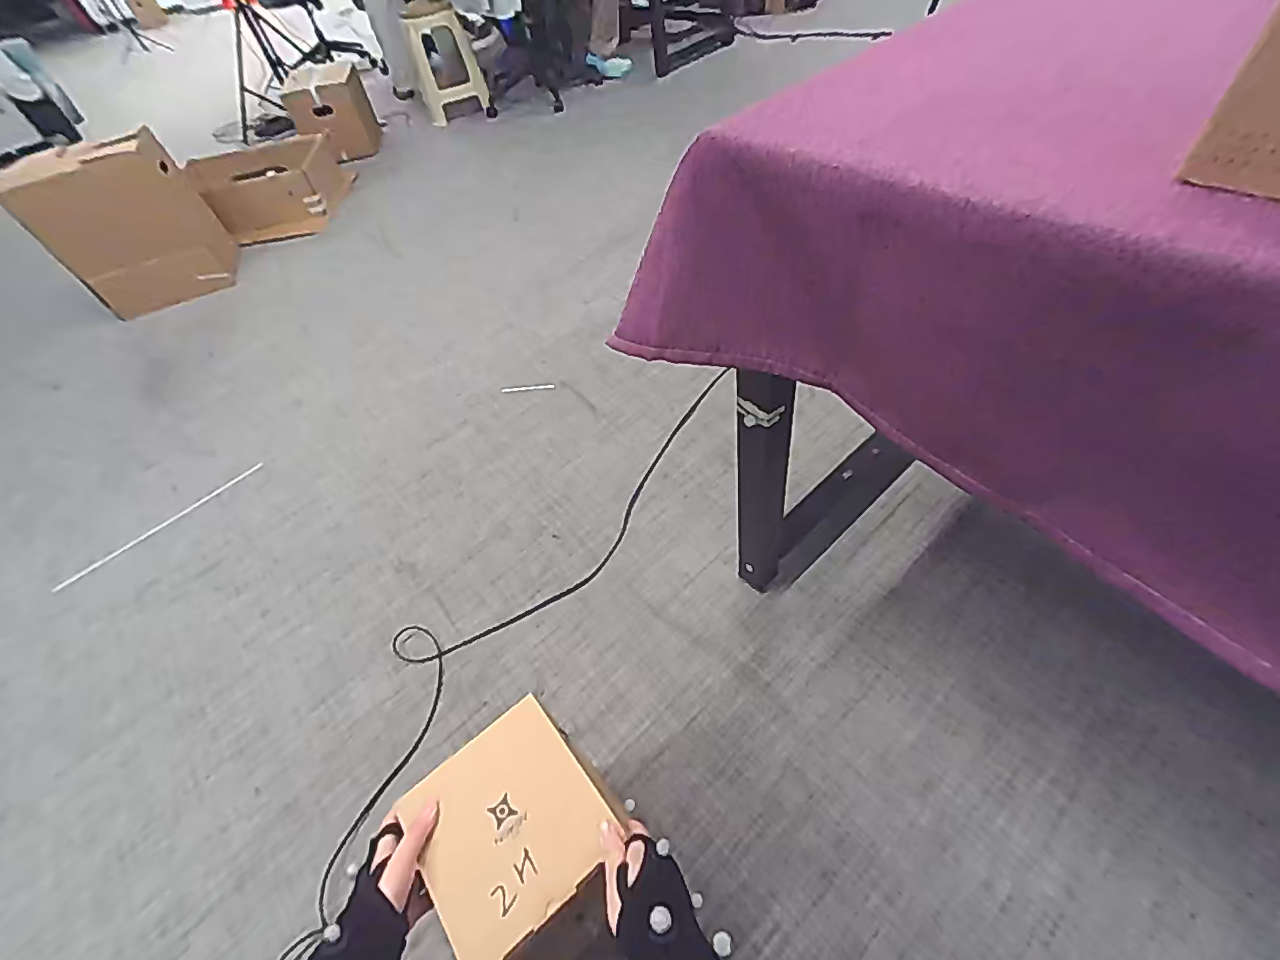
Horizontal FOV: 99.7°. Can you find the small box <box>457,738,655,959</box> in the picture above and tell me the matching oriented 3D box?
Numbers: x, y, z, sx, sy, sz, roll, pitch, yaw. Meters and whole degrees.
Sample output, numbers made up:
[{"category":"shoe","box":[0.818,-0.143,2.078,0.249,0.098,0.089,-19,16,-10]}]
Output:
[{"category":"small box","box":[-0.097,0.480,0.697,0.179,0.176,0.168,-36,54,-20]}]
